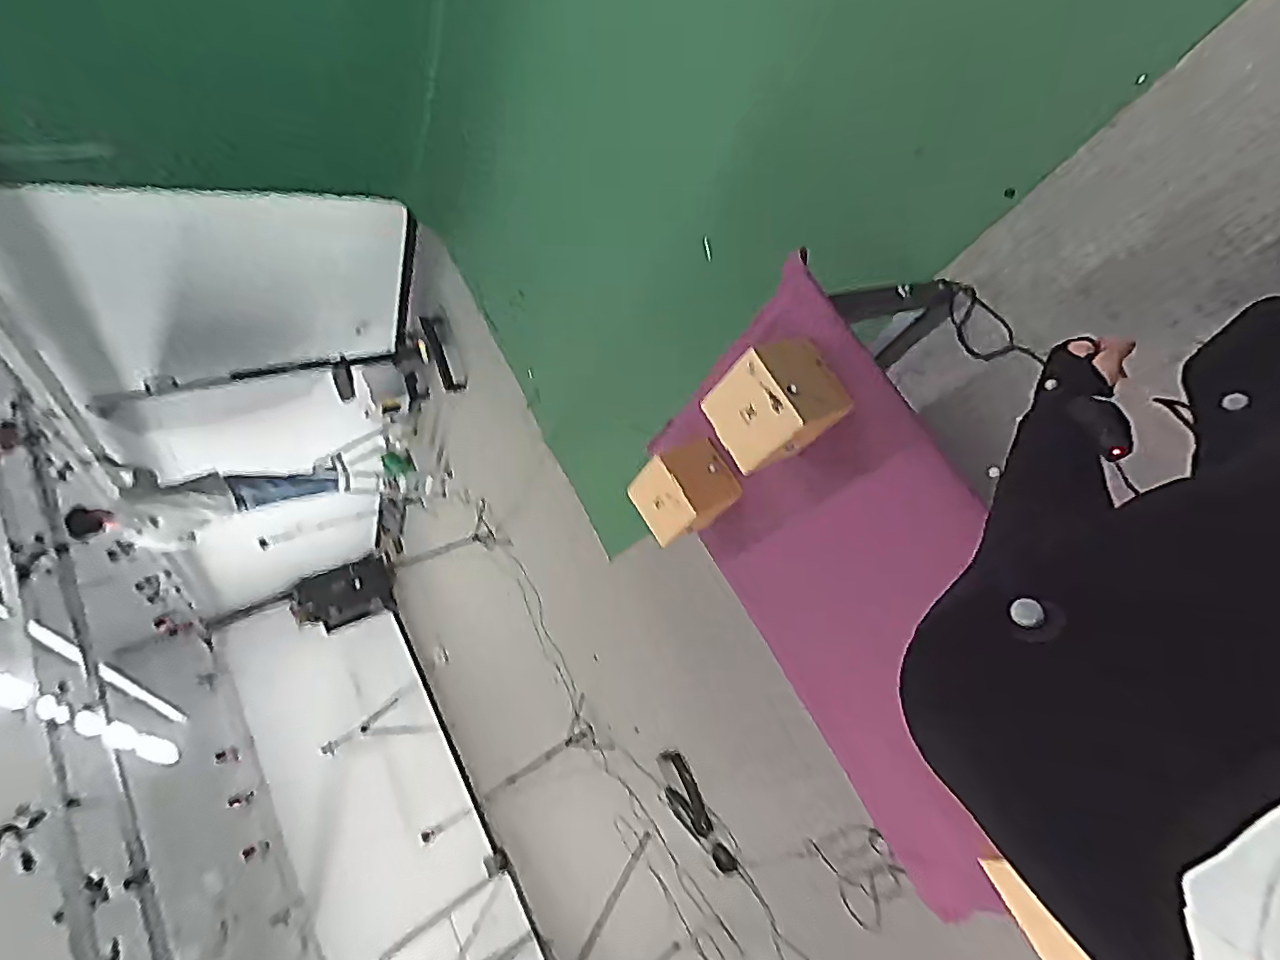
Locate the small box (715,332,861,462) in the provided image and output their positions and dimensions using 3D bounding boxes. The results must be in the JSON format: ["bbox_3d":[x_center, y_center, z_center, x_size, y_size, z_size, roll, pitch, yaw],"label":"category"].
[{"bbox_3d":[0.284,-0.161,1.043,0.168,0.176,0.179,59,144,13],"label":"small box"}]

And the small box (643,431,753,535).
[{"bbox_3d":[0.142,0.006,1.322,0.168,0.176,0.179,57,143,14],"label":"small box"}]
